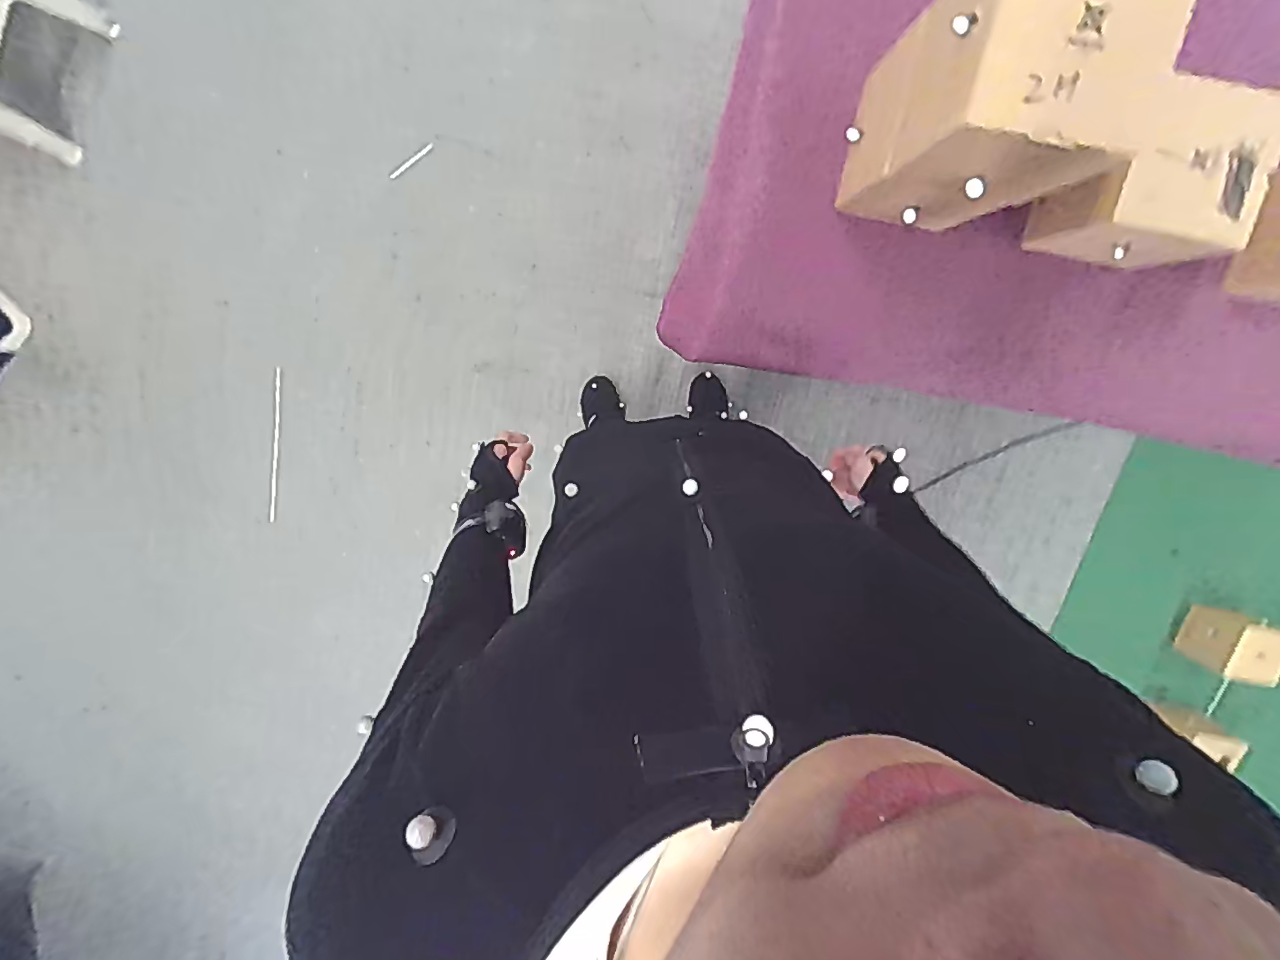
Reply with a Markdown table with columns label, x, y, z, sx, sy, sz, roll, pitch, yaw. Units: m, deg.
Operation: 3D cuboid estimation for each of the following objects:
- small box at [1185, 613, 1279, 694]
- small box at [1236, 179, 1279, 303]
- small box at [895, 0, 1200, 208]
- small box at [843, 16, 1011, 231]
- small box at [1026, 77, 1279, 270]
| label | x | y | z | sx | sy | sz | roll | pitch | yaw |
| --- | --- | --- | --- | --- | --- | --- | --- | --- | --- |
| small box | 1.857 | 0.527 | 1.661 | 0.179 | 0.176 | 0.168 | 11 | 103 | -3 |
| small box | 0.985 | -0.327 | 0.726 | 0.168 | 0.176 | 0.179 | 11 | 102 | -2 |
| small box | 0.385 | -0.400 | 0.542 | 0.168 | 0.176 | 0.179 | 10 | 104 | -1 |
| small box | 0.384 | -0.440 | 0.702 | 0.168 | 0.176 | 0.179 | 10 | 104 | -3 |
| small box | 0.670 | -0.385 | 0.713 | 0.179 | 0.176 | 0.168 | 10 | 103 | -1 |
